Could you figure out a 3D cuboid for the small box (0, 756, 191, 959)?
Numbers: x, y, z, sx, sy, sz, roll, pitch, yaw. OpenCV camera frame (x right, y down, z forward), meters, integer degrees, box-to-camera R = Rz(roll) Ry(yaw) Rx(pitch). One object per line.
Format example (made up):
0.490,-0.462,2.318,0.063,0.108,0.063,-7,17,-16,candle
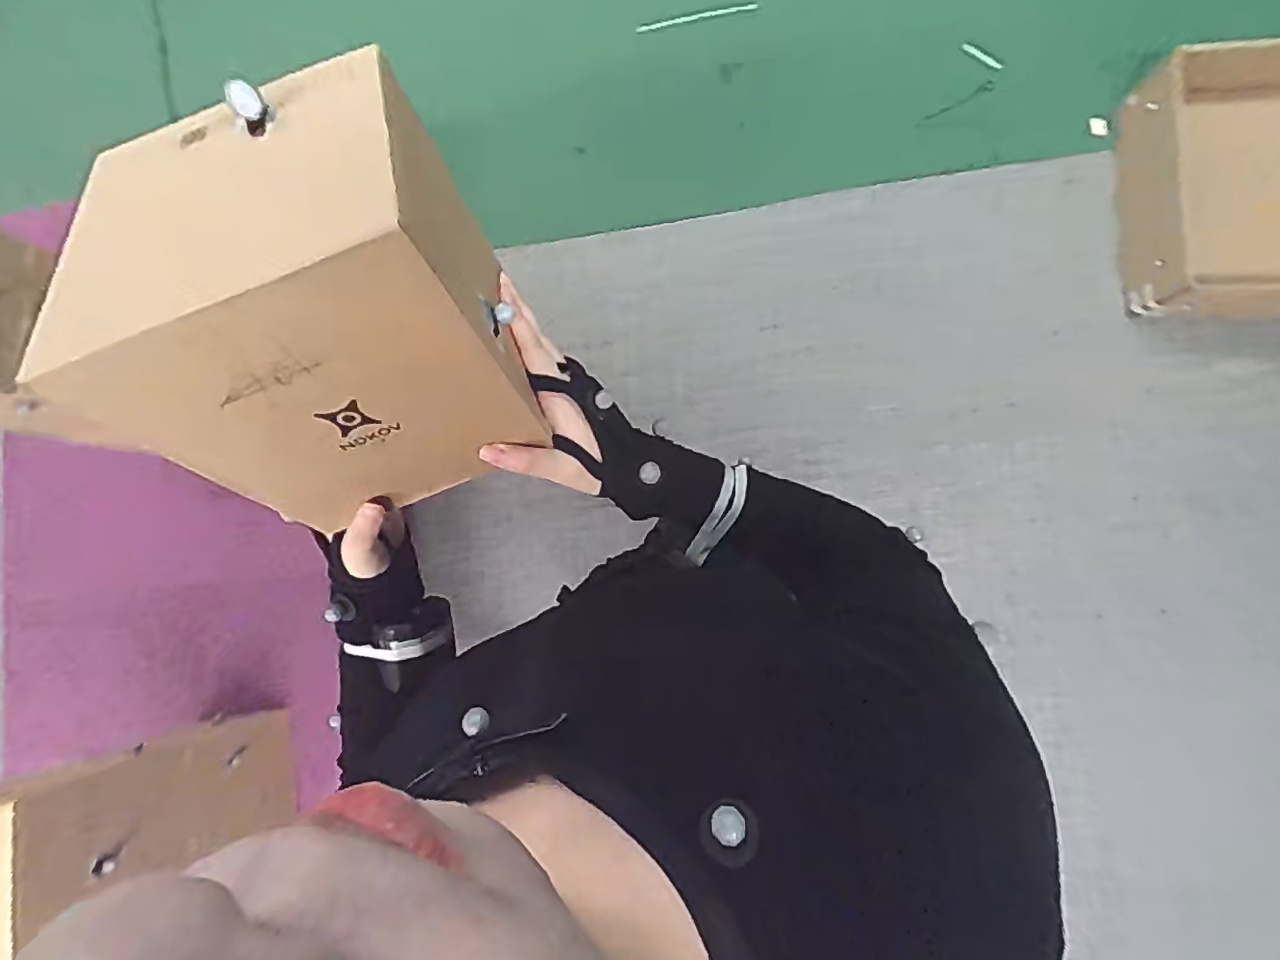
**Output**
-0.634,0.419,0.583,0.168,0.176,0.179,-12,82,6,small box

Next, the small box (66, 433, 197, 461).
-0.697,-0.126,0.818,0.179,0.176,0.168,-7,84,6,small box

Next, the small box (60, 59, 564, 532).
-0.162,-0.096,0.325,0.168,0.179,0.176,-20,61,2,small box

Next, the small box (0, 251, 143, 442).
-0.718,-0.147,0.658,0.179,0.176,0.168,-7,83,6,small box

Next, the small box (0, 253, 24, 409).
-0.737,-0.163,0.495,0.168,0.176,0.179,-5,82,7,small box
